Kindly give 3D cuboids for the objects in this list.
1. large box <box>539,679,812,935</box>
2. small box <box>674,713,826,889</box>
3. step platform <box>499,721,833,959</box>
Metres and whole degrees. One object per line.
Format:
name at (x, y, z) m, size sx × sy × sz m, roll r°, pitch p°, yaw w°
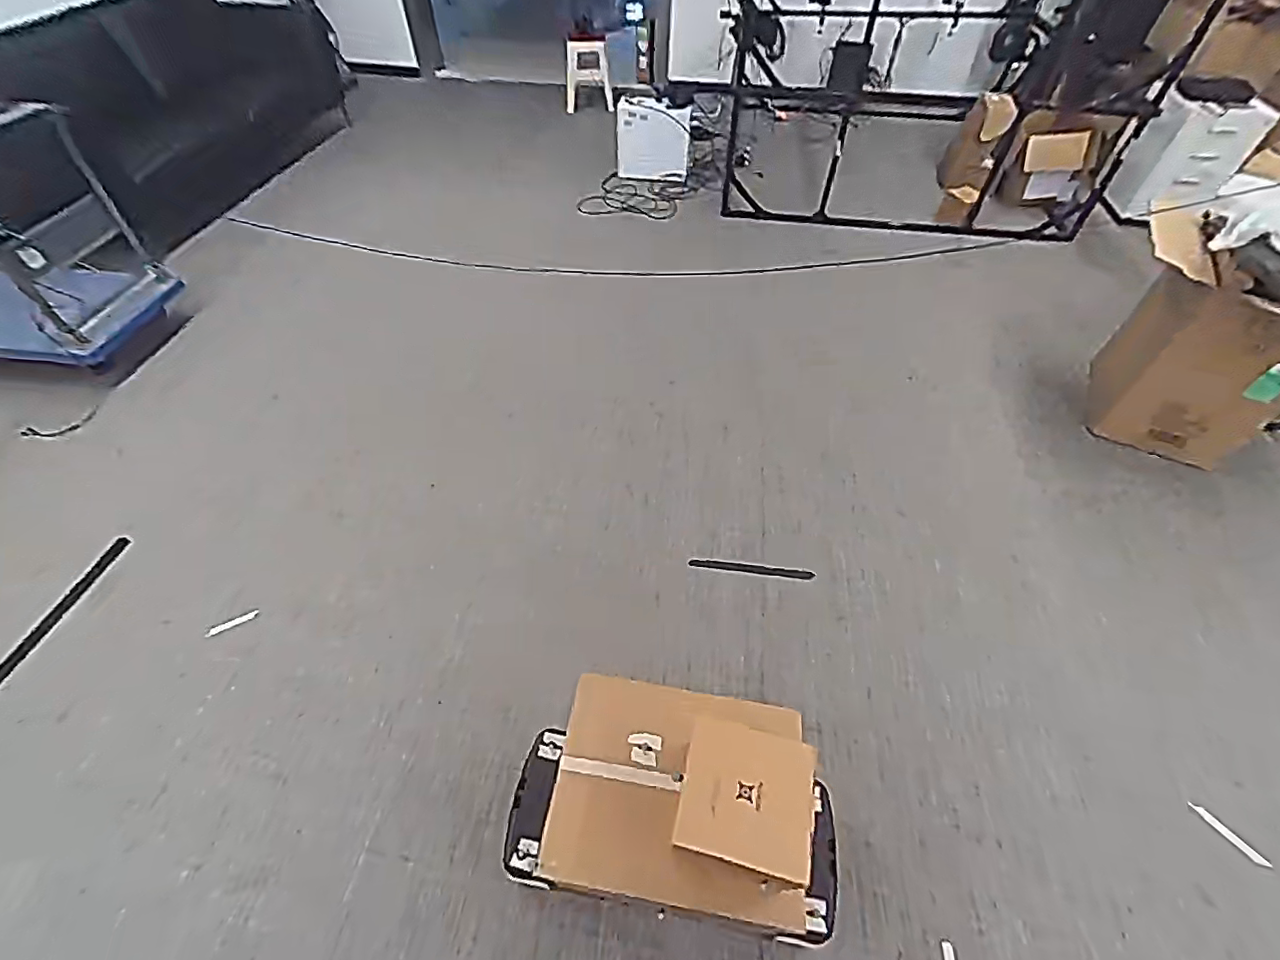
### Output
large box at (0.073, 0.595, 0.986) m, size 0.408 × 0.320 × 0.320 m, roll 7°, pitch 50°, yaw 7°
small box at (0.153, 0.463, 0.776) m, size 0.179 × 0.176 × 0.168 m, roll 12°, pitch 52°, yaw 10°
step platform at (0.053, 0.759, 1.159) m, size 0.684 × 0.204 × 0.286 m, roll 11°, pitch 51°, yaw 10°
